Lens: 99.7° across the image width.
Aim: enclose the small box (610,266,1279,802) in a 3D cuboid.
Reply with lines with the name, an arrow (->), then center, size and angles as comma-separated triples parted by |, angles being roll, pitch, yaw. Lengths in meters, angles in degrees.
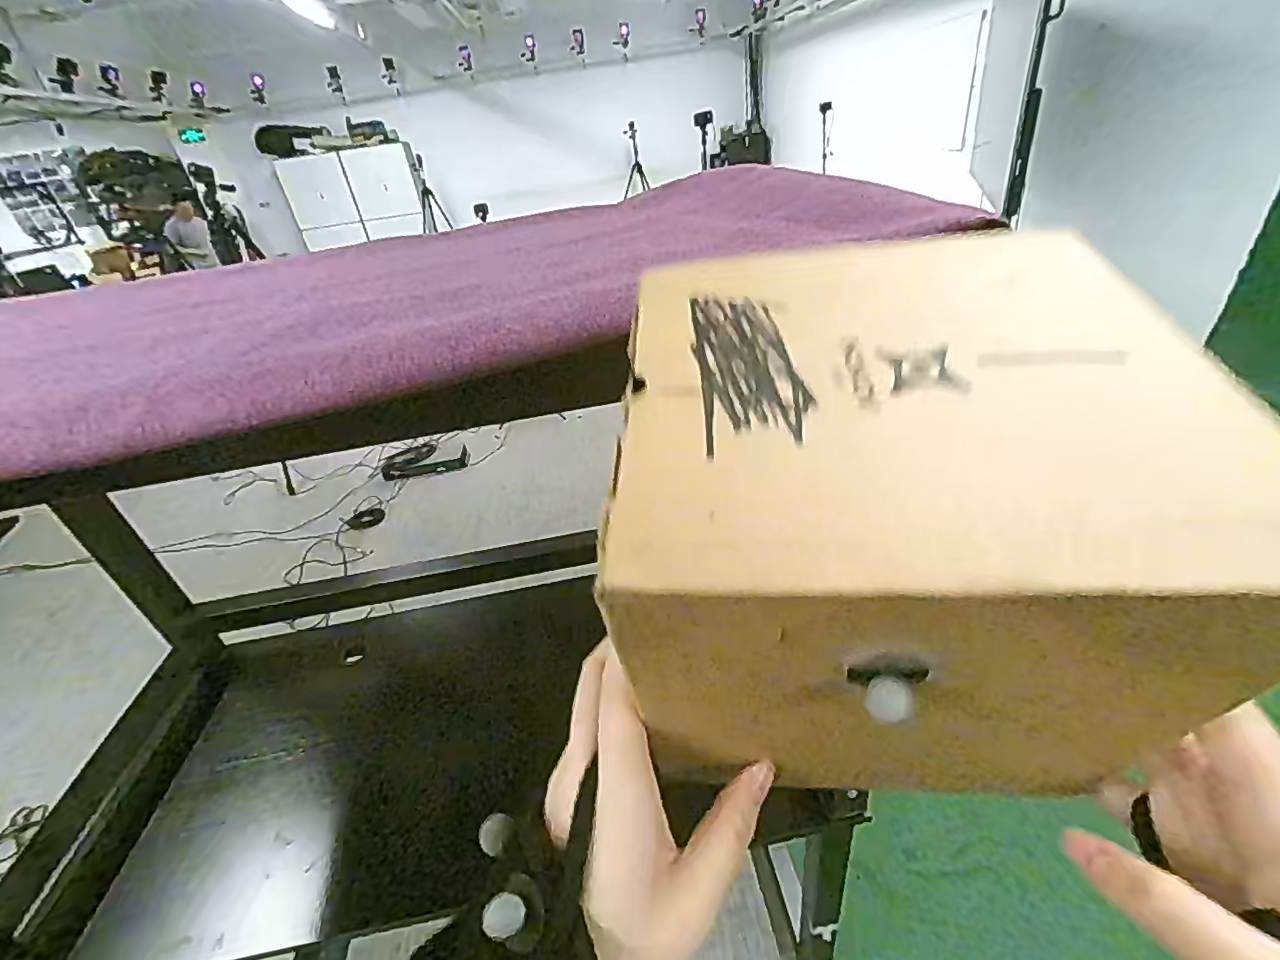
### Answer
small box -> 0.094, 0.029, 0.239 | 0.179, 0.176, 0.168 | -2, 48, 8
